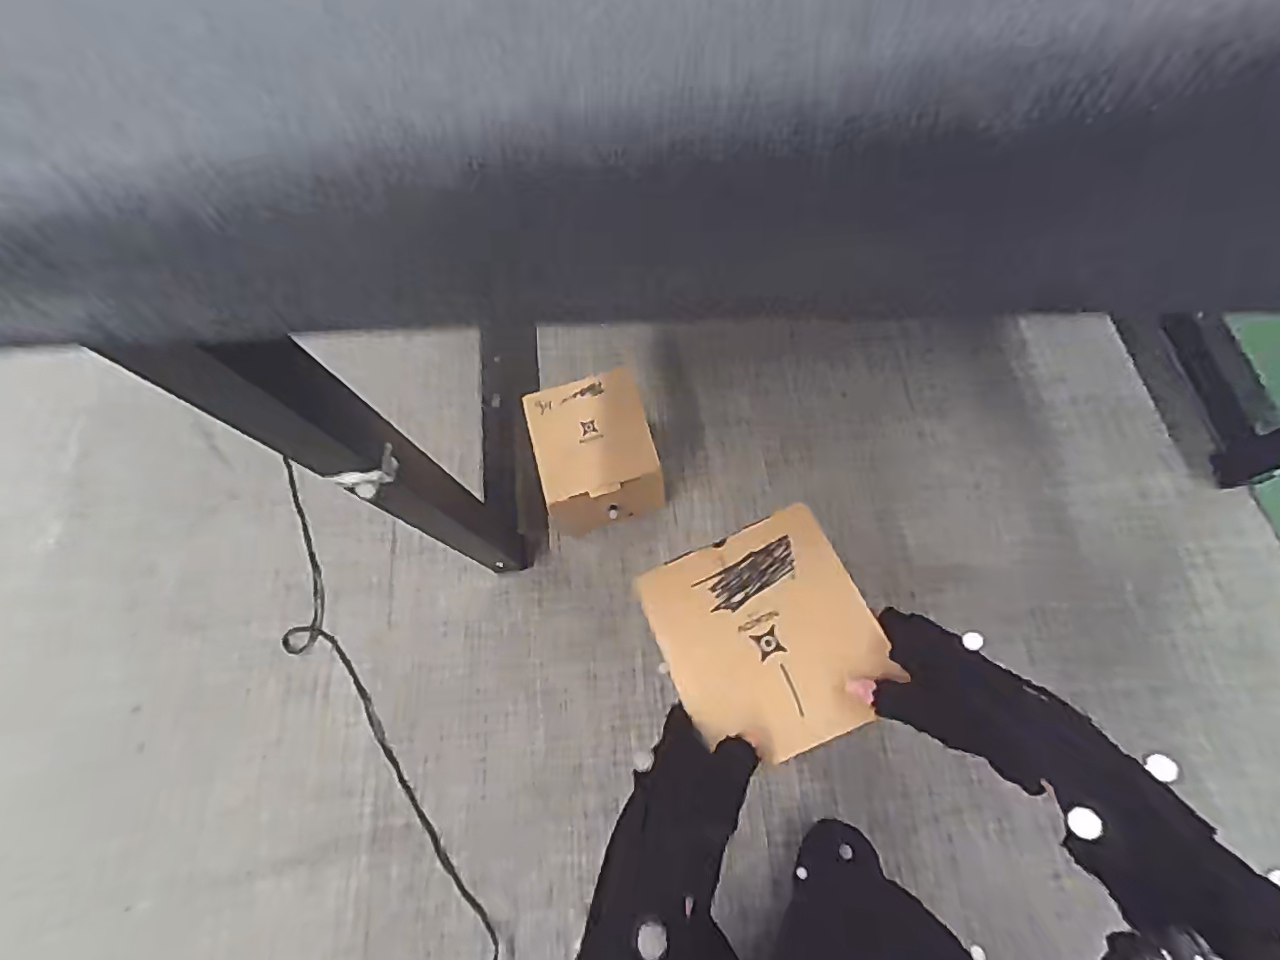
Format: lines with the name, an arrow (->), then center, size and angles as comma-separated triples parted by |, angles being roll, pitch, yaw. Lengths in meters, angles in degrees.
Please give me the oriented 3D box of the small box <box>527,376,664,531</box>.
small box -> -0.062, -0.030, 0.844 | 0.168, 0.176, 0.179 | -15, 70, -2
